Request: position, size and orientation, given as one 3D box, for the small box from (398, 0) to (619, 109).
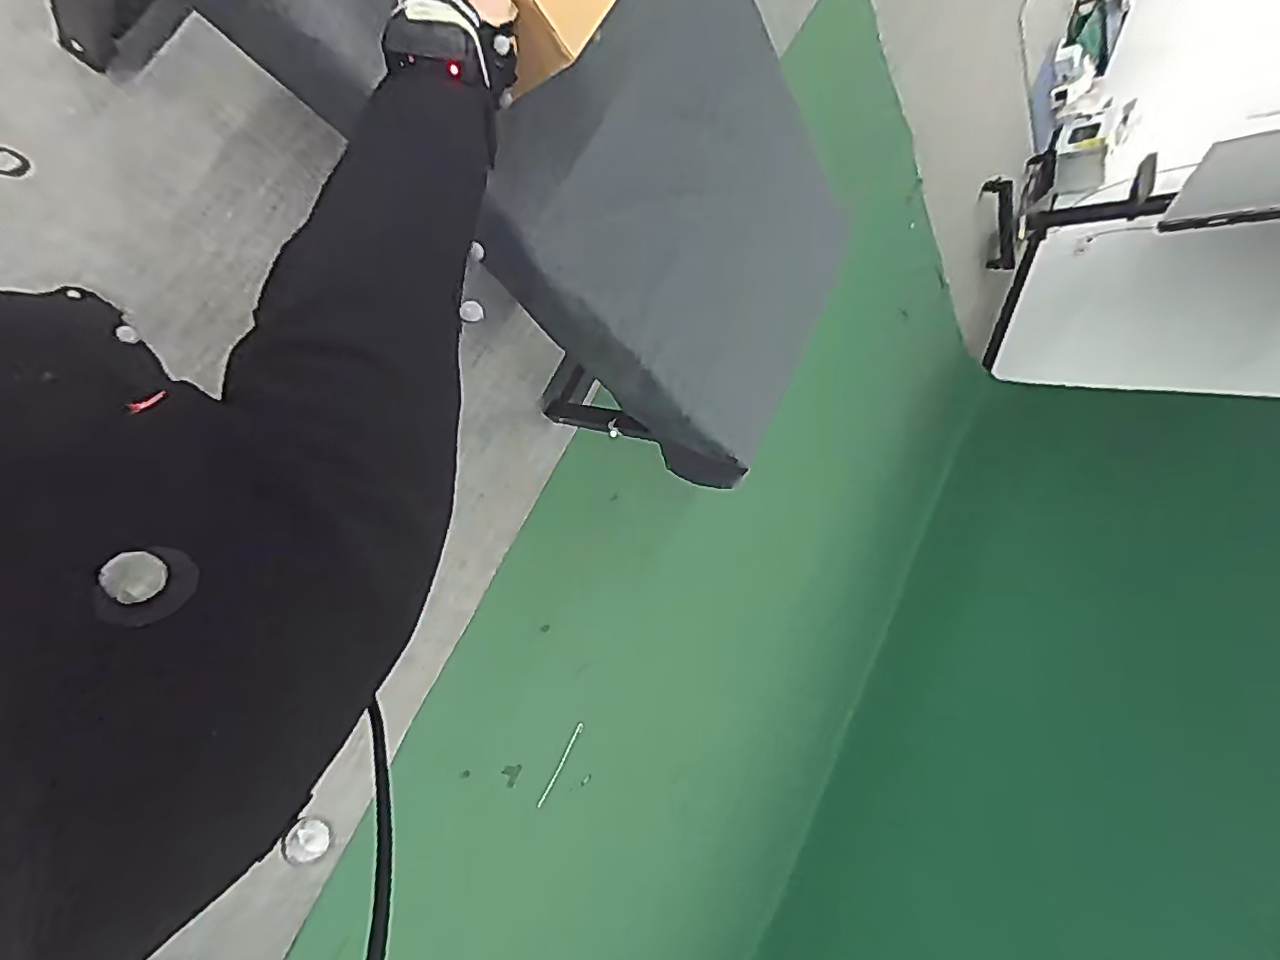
[{"bbox_3d":[-0.134,-0.545,0.572,0.168,0.176,0.179,39,74,-43],"label":"small box"}]
